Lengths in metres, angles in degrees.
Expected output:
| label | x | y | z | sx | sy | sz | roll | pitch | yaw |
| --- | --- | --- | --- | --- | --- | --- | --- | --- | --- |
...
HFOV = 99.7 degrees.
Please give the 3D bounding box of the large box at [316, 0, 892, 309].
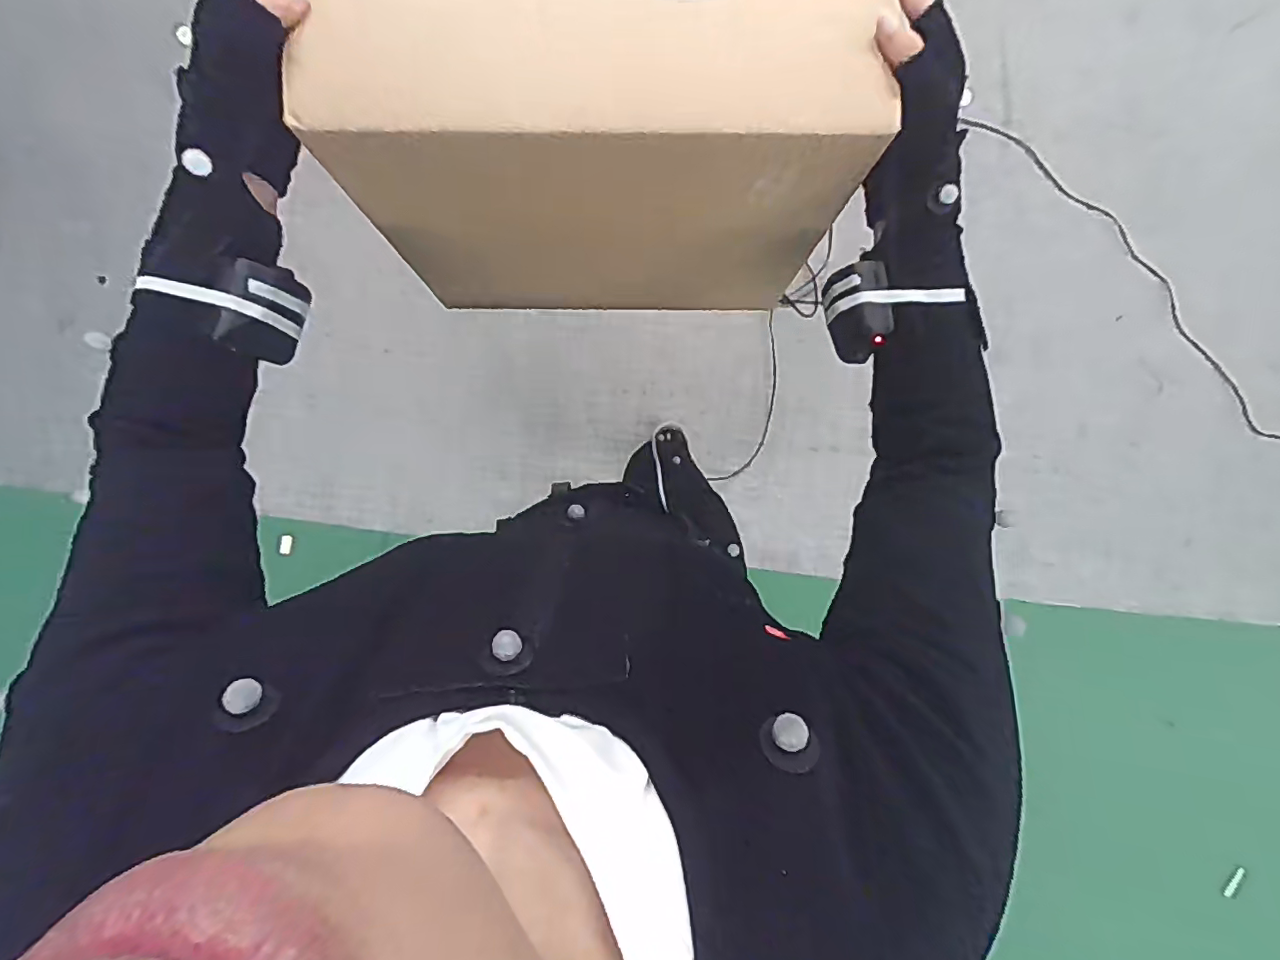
| label | x | y | z | sx | sy | sz | roll | pitch | yaw |
| --- | --- | --- | --- | --- | --- | --- | --- | --- | --- |
| large box | -0.031 | -0.376 | 0.531 | 0.408 | 0.320 | 0.320 | -1 | 86 | -3 |
